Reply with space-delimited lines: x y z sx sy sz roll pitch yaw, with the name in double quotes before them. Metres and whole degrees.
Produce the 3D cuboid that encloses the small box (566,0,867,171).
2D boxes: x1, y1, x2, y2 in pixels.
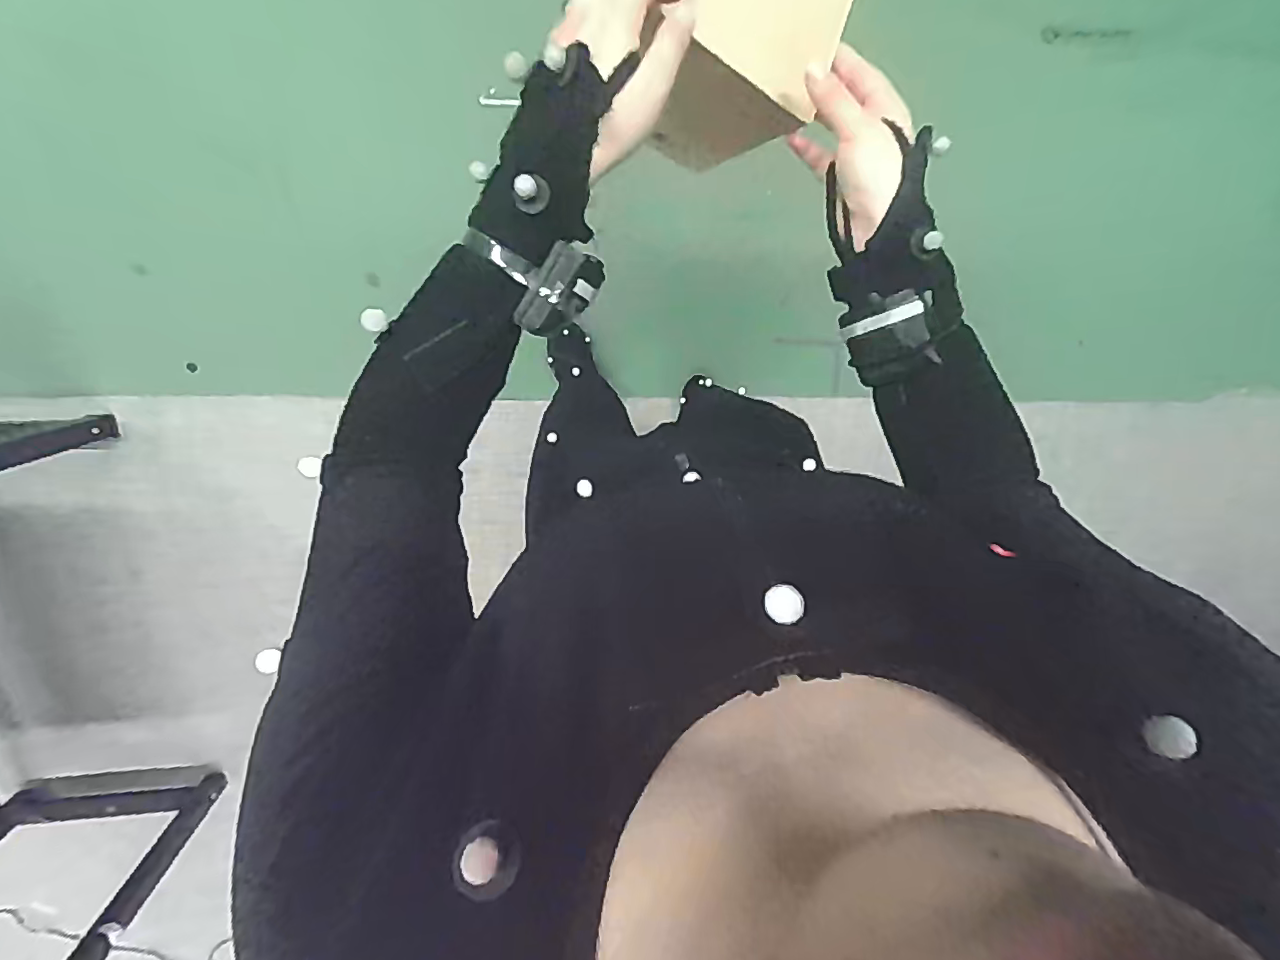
"small box" 0.057 -0.378 0.423 0.168 0.176 0.179 14 98 -30
